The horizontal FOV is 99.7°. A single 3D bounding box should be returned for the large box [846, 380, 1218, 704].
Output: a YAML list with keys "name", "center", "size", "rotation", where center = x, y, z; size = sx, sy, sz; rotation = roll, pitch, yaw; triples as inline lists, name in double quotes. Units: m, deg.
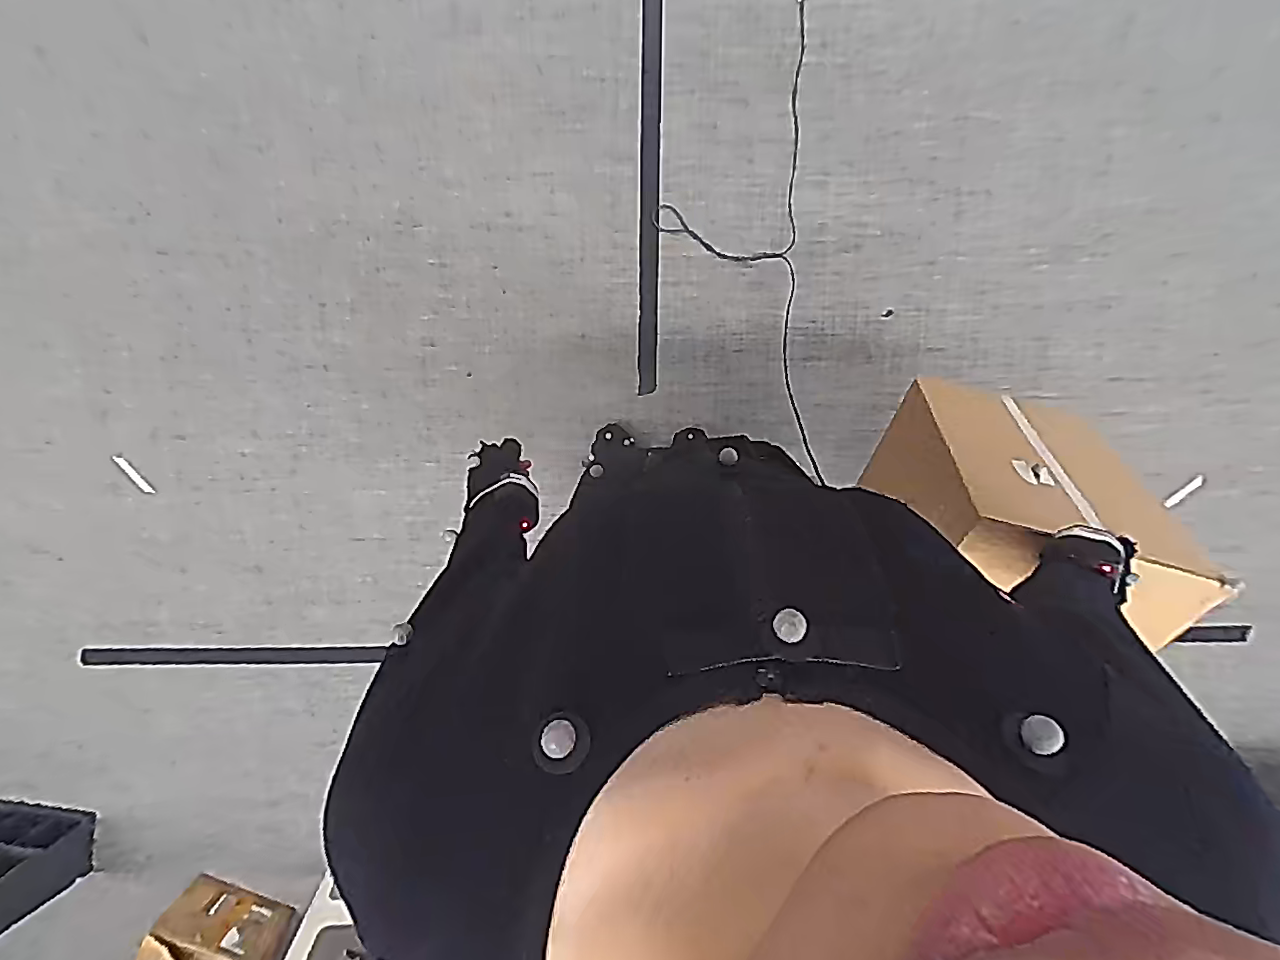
- name: "large box"
  center: [0.579, 0.089, 0.919]
  size: [0.320, 0.408, 0.320]
  rotation: [15, 129, 3]
